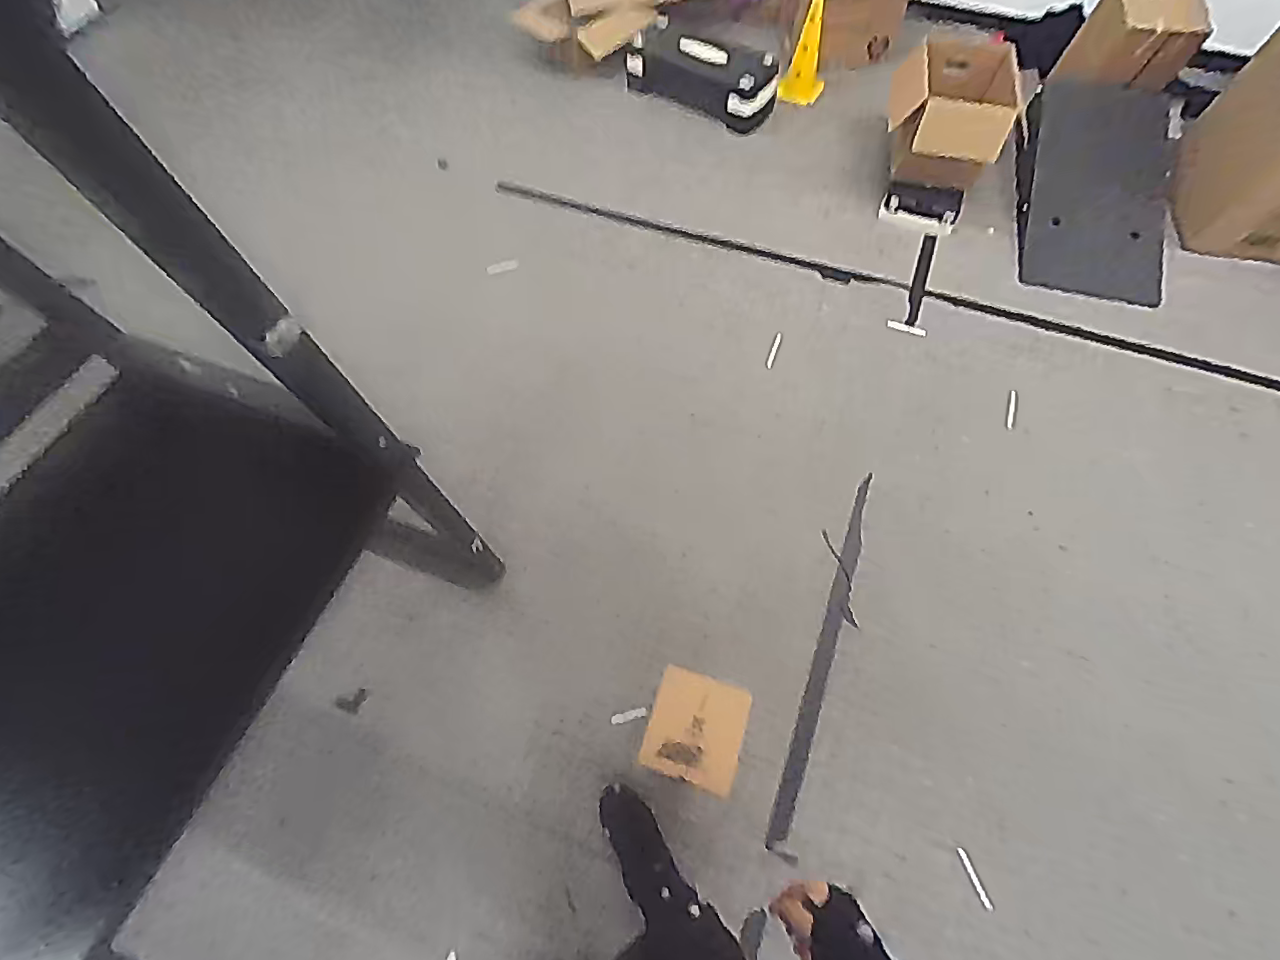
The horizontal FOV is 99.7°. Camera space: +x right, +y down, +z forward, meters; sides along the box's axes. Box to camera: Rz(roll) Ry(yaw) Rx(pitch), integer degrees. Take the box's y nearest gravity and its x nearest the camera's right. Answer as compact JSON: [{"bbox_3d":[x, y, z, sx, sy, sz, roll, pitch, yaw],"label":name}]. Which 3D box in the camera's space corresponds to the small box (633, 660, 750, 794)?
[{"bbox_3d":[0.095,0.462,1.019,0.168,0.176,0.179,18,66,8],"label":"small box"}]
